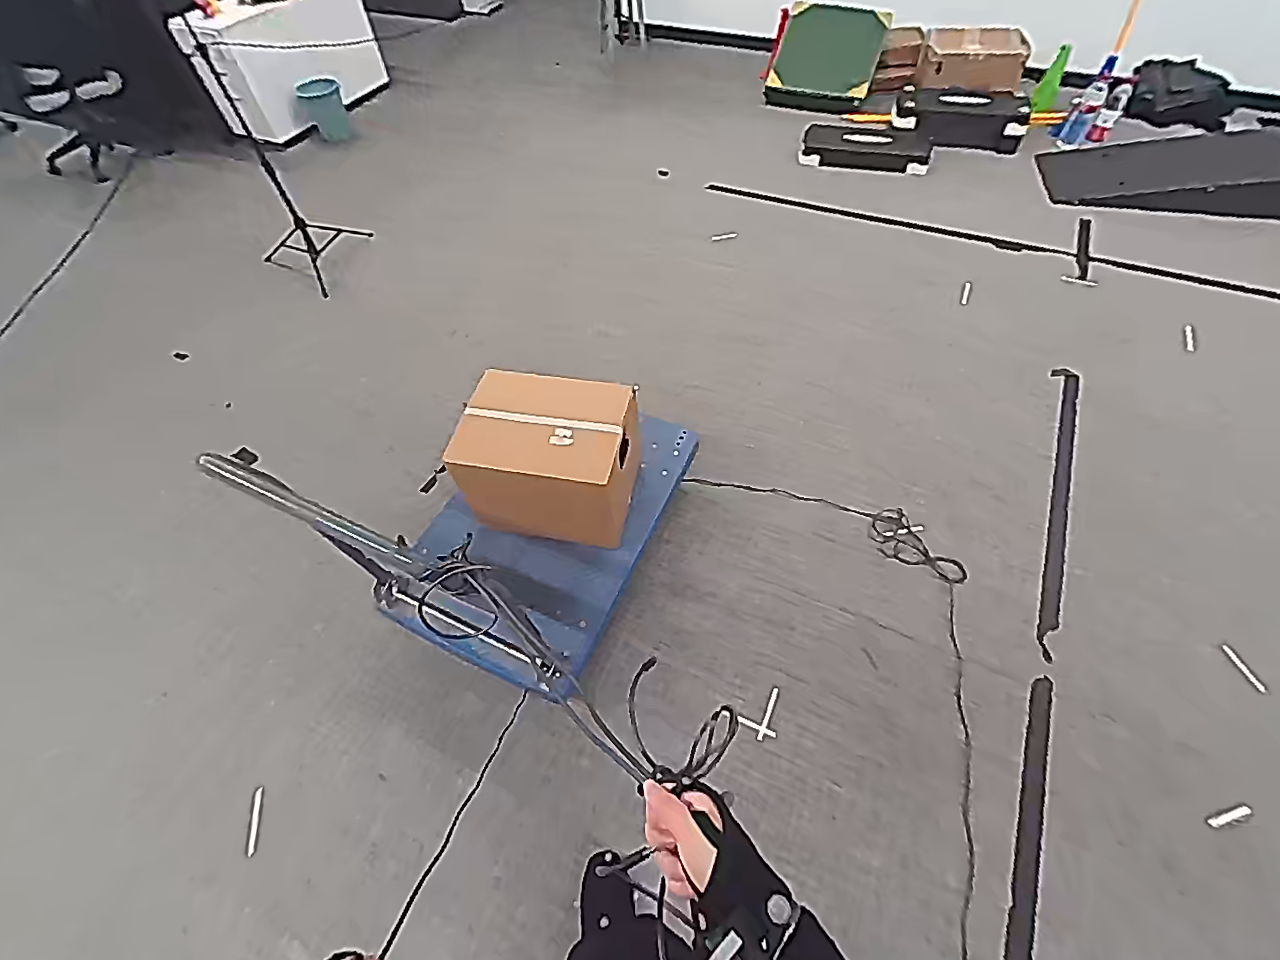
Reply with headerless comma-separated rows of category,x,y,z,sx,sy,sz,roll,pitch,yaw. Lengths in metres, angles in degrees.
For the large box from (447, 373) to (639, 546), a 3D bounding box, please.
large box,-0.228,-0.051,1.442,0.408,0.320,0.320,9,56,8
